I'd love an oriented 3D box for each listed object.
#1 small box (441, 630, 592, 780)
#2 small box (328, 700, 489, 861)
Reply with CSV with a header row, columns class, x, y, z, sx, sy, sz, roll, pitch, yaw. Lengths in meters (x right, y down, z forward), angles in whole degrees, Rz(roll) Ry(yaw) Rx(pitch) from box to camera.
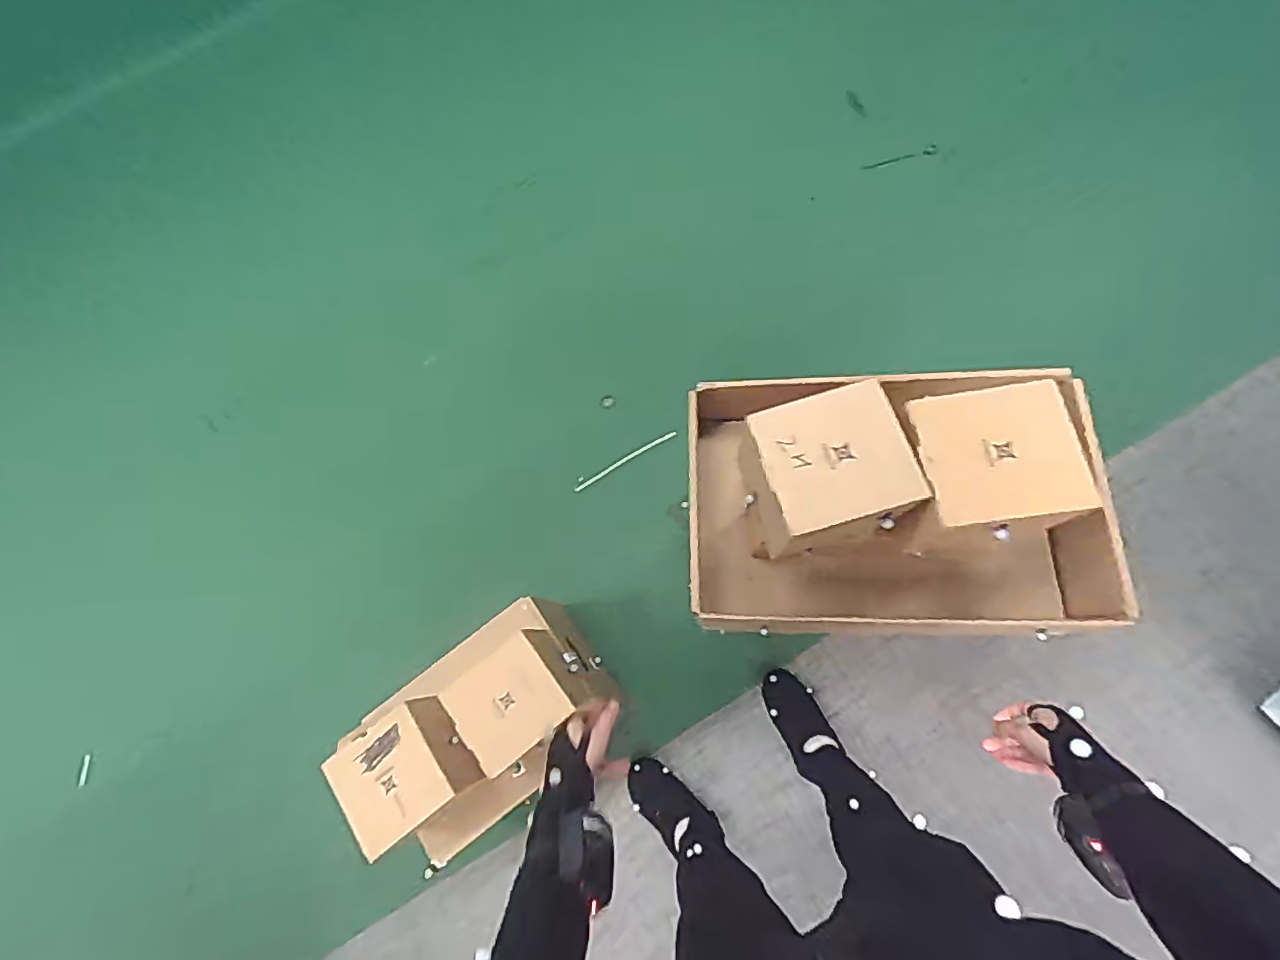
class,x,y,z,sx,sy,sz,roll,pitch,yaw
small box,-0.208,0.388,0.960,0.179,0.176,0.168,-38,74,-5
small box,-0.391,0.507,0.946,0.168,0.176,0.179,-37,72,-5
